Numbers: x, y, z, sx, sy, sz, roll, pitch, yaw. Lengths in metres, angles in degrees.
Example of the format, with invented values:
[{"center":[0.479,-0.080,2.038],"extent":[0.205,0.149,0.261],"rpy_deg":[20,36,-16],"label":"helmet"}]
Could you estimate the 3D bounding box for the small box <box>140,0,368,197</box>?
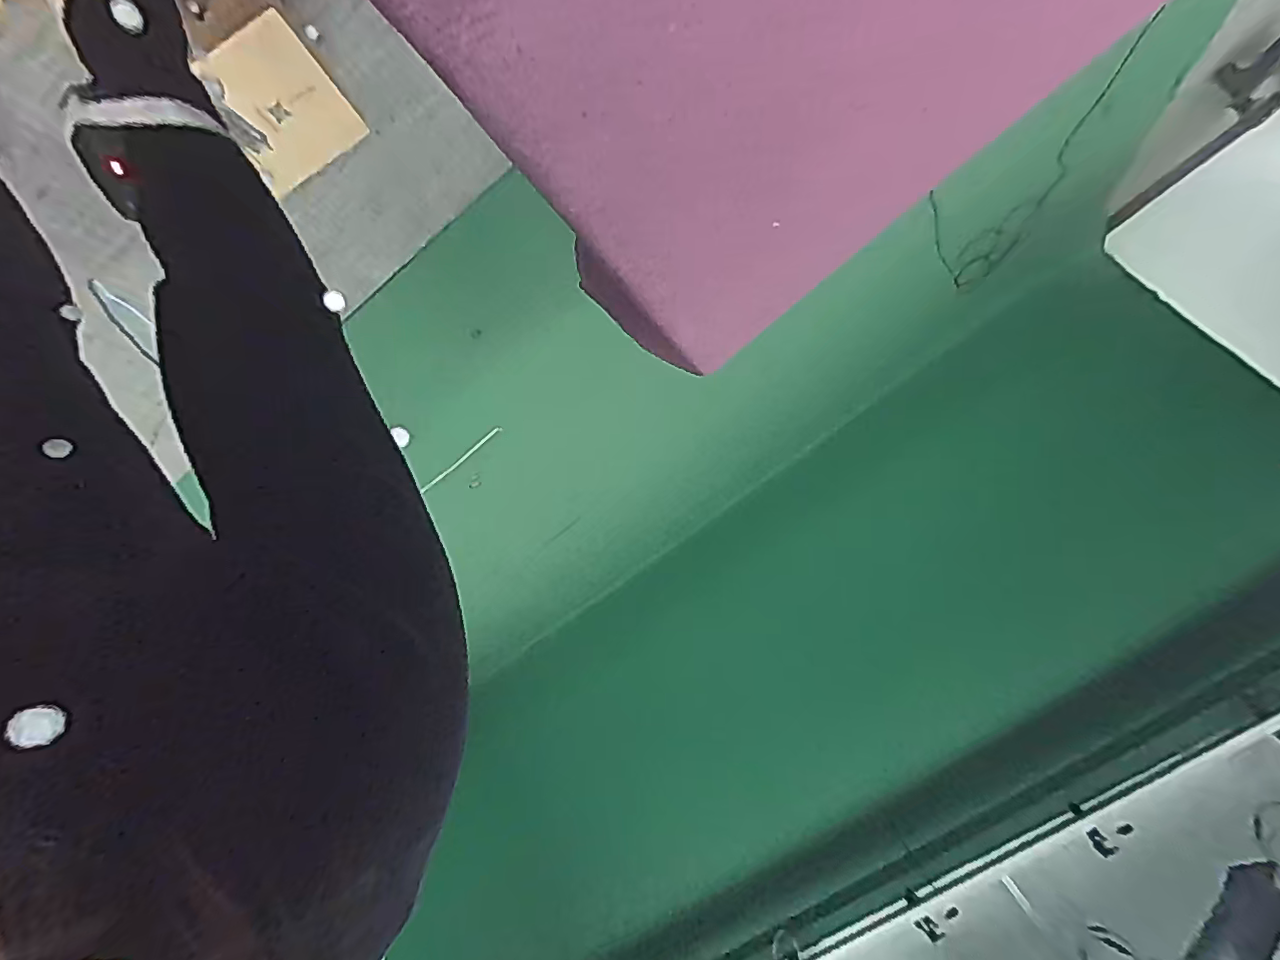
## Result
[{"center":[-0.509,-0.531,0.717],"extent":[0.179,0.176,0.168],"rpy_deg":[-35,159,2],"label":"small box"}]
